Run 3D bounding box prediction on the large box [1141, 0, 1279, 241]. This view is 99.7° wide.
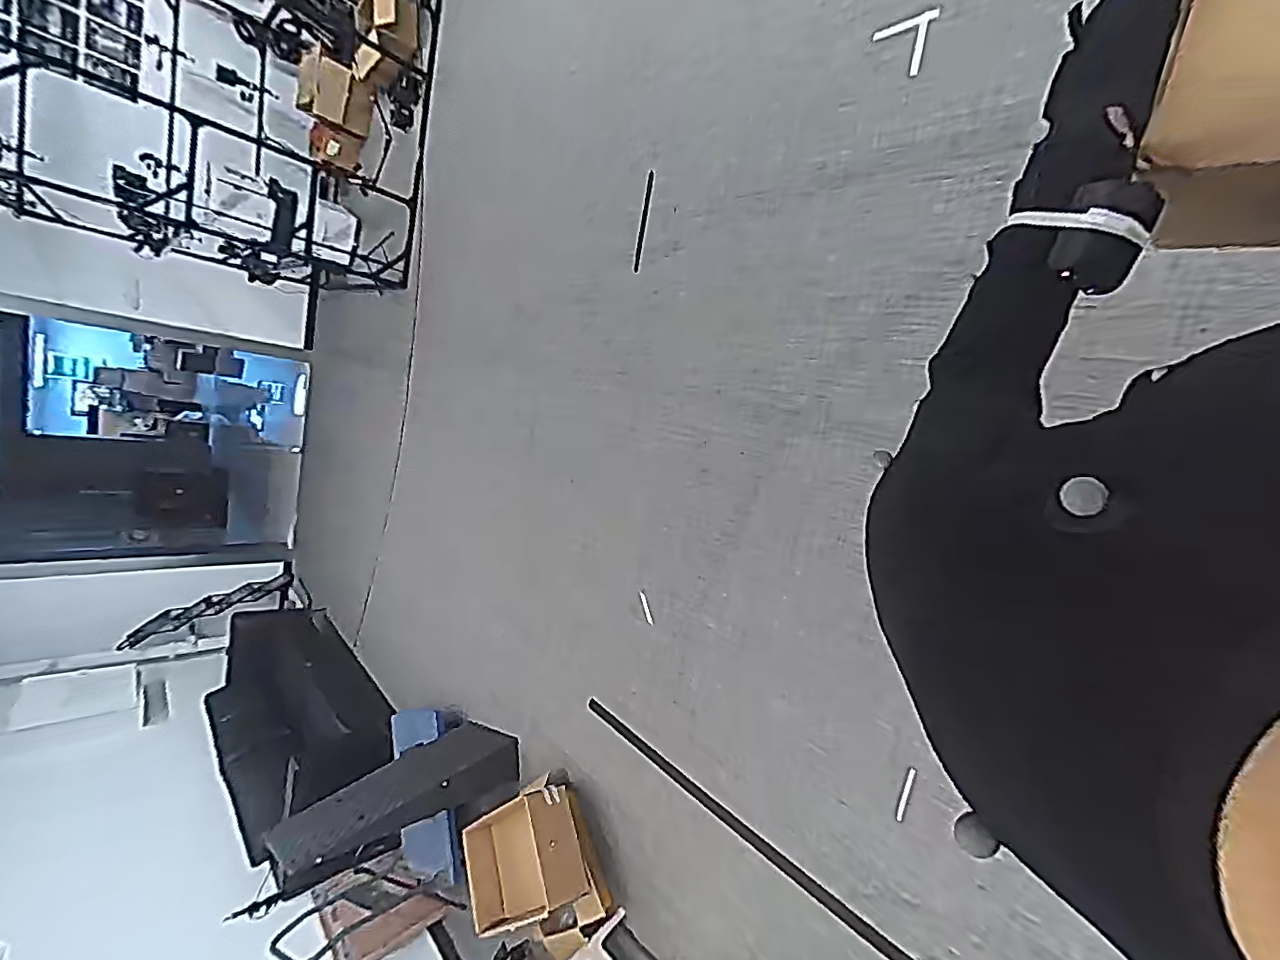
[{"bbox_3d":[0.619,-0.347,0.330,0.408,0.320,0.320,20,112,41],"label":"large box"}]
